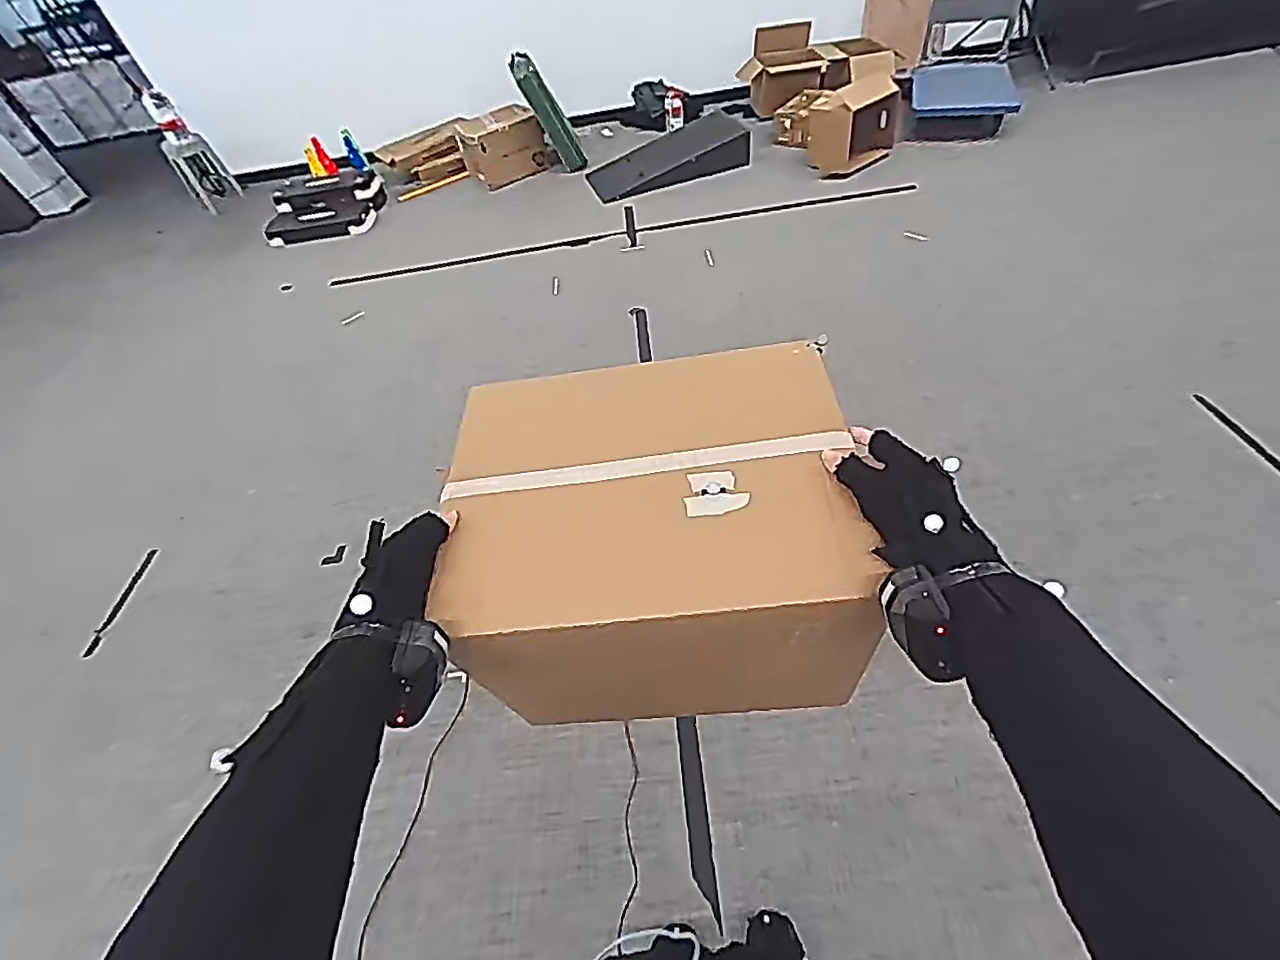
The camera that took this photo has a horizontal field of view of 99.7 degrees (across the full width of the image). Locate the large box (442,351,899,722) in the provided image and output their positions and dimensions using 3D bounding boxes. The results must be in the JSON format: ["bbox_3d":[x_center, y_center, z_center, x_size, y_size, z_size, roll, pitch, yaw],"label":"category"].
[{"bbox_3d":[0.032,0.084,0.665,0.408,0.320,0.320,-7,53,5],"label":"large box"}]
